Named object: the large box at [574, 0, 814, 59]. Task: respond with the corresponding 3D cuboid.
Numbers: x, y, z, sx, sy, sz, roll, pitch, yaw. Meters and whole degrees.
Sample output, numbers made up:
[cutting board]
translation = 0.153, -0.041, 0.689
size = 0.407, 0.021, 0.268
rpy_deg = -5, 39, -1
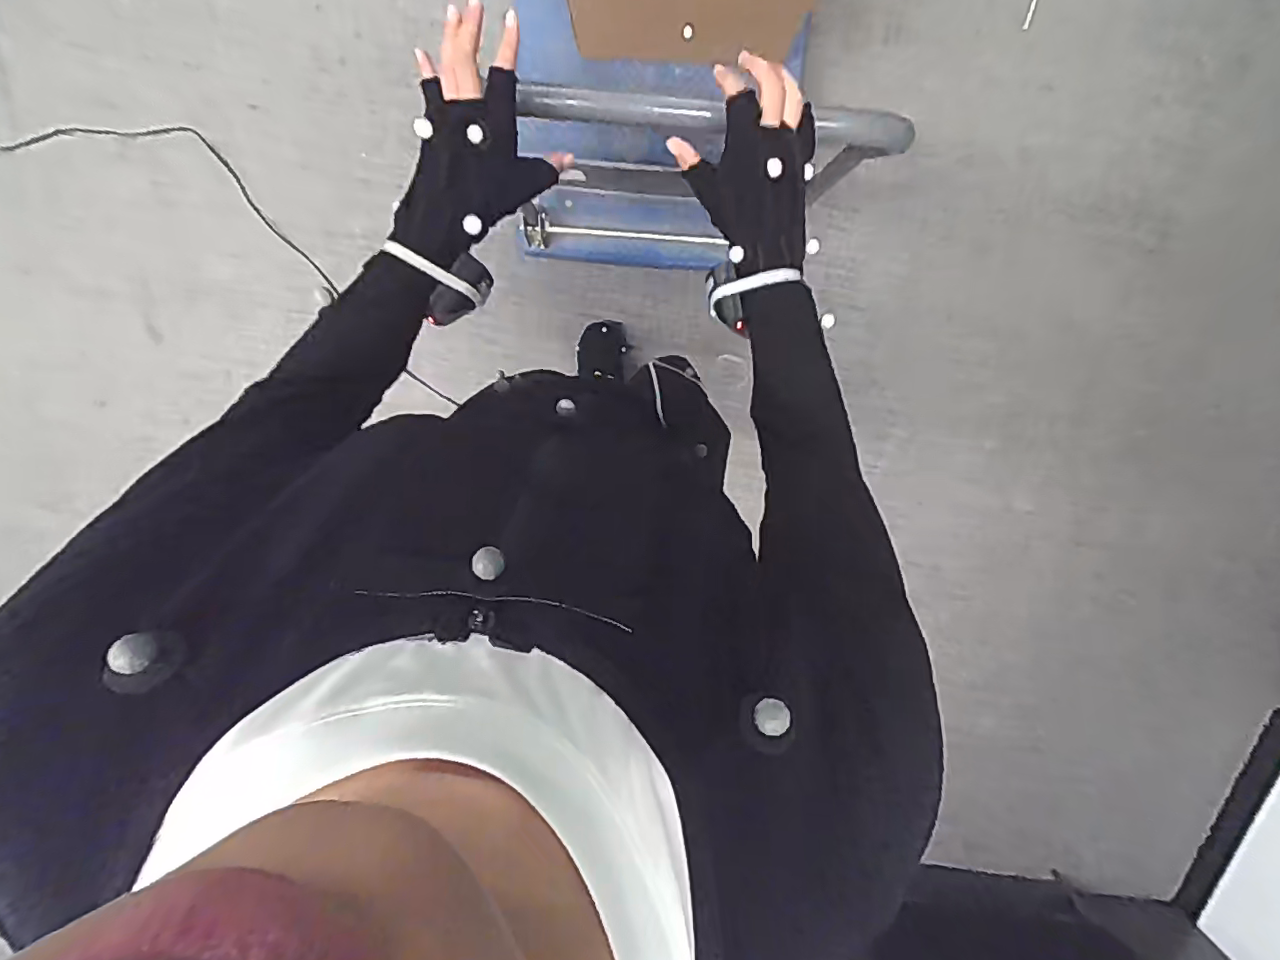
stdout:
[large box]
translation = 0.093, -0.949, 0.899
size = 0.408, 0.320, 0.320
rpy_deg = 1, 105, -1
